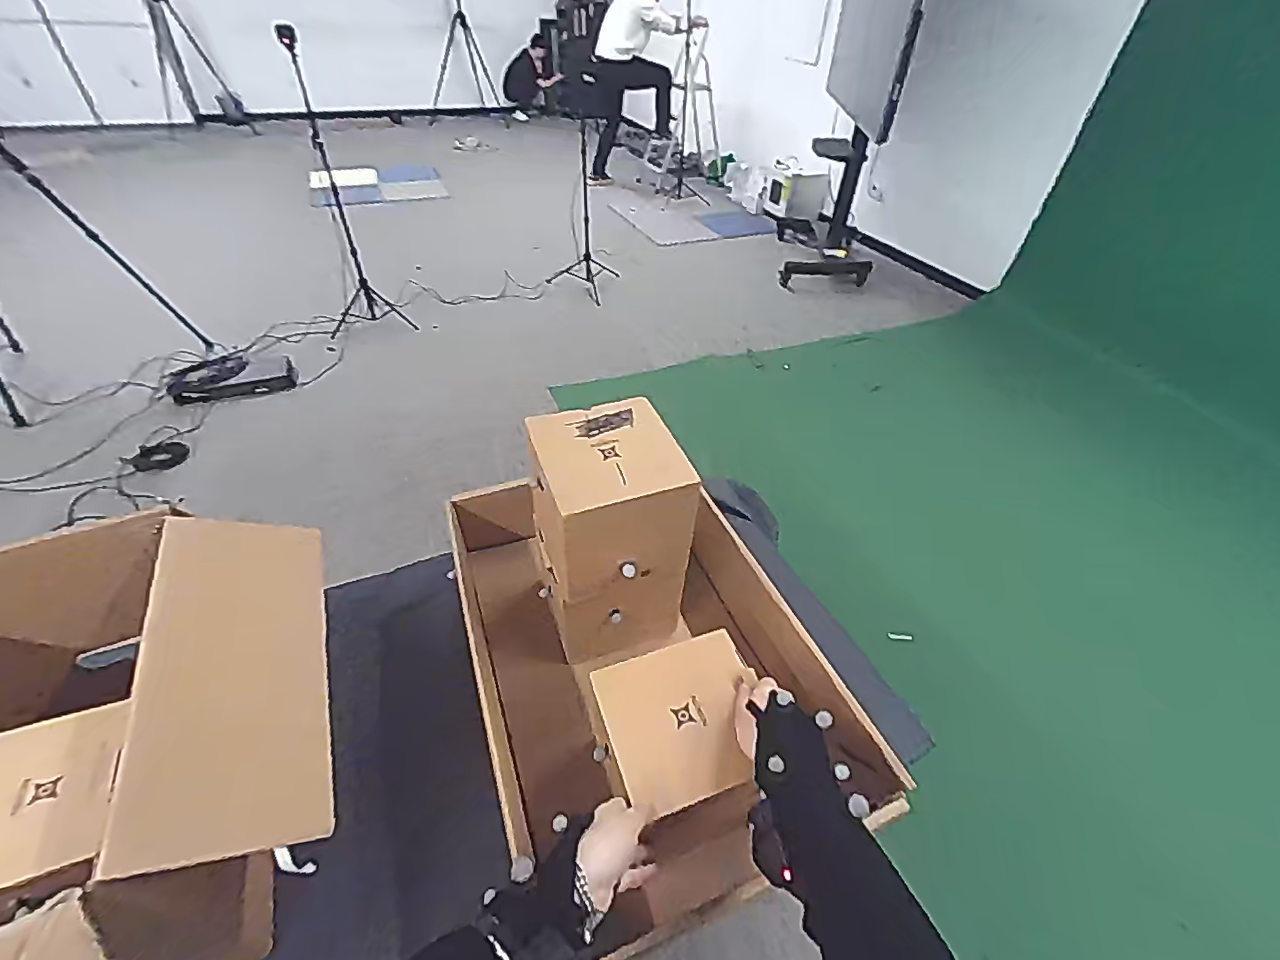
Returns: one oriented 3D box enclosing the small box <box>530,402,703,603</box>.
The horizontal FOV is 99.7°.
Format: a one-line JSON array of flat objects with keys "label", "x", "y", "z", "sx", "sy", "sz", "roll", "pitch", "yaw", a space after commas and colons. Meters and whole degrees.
[{"label": "small box", "x": -0.038, "y": 0.027, "z": 0.697, "sx": 0.168, "sy": 0.176, "sz": 0.179, "roll": -14, "pitch": 47, "yaw": -17}]
